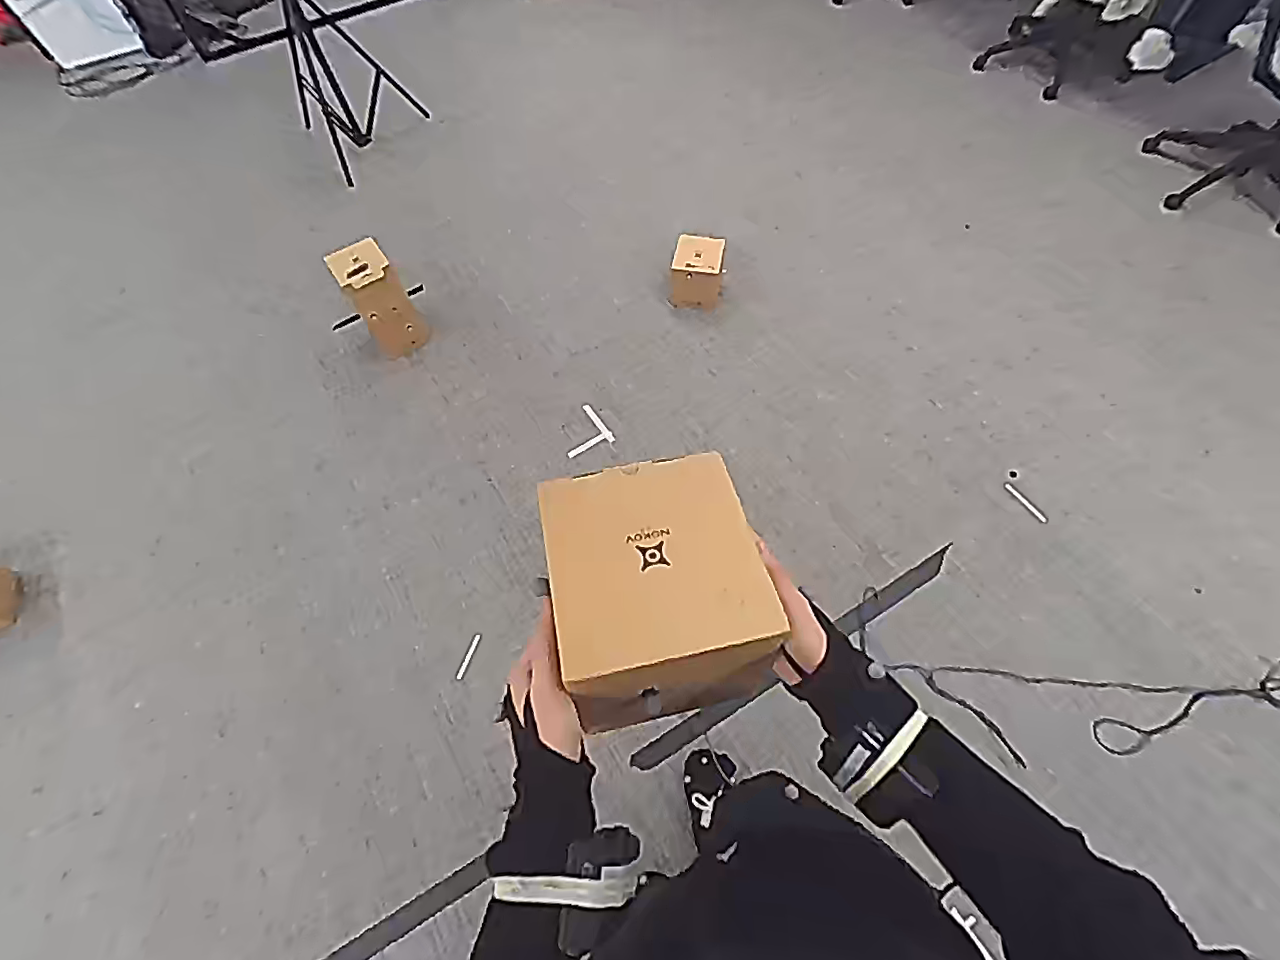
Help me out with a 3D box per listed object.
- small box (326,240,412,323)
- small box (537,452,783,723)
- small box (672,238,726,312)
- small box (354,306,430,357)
[{"bbox_3d":[-0.884,-0.643,1.779,0.168,0.176,0.179,-32,64,-14],"label":"small box"},{"bbox_3d":[0.009,0.104,0.488,0.168,0.176,0.179,-10,53,-7],"label":"small box"},{"bbox_3d":[0.208,-0.737,1.949,0.168,0.176,0.179,10,63,8],"label":"small box"},{"bbox_3d":[-0.880,-0.562,1.922,0.168,0.176,0.179,-33,64,-15],"label":"small box"}]
